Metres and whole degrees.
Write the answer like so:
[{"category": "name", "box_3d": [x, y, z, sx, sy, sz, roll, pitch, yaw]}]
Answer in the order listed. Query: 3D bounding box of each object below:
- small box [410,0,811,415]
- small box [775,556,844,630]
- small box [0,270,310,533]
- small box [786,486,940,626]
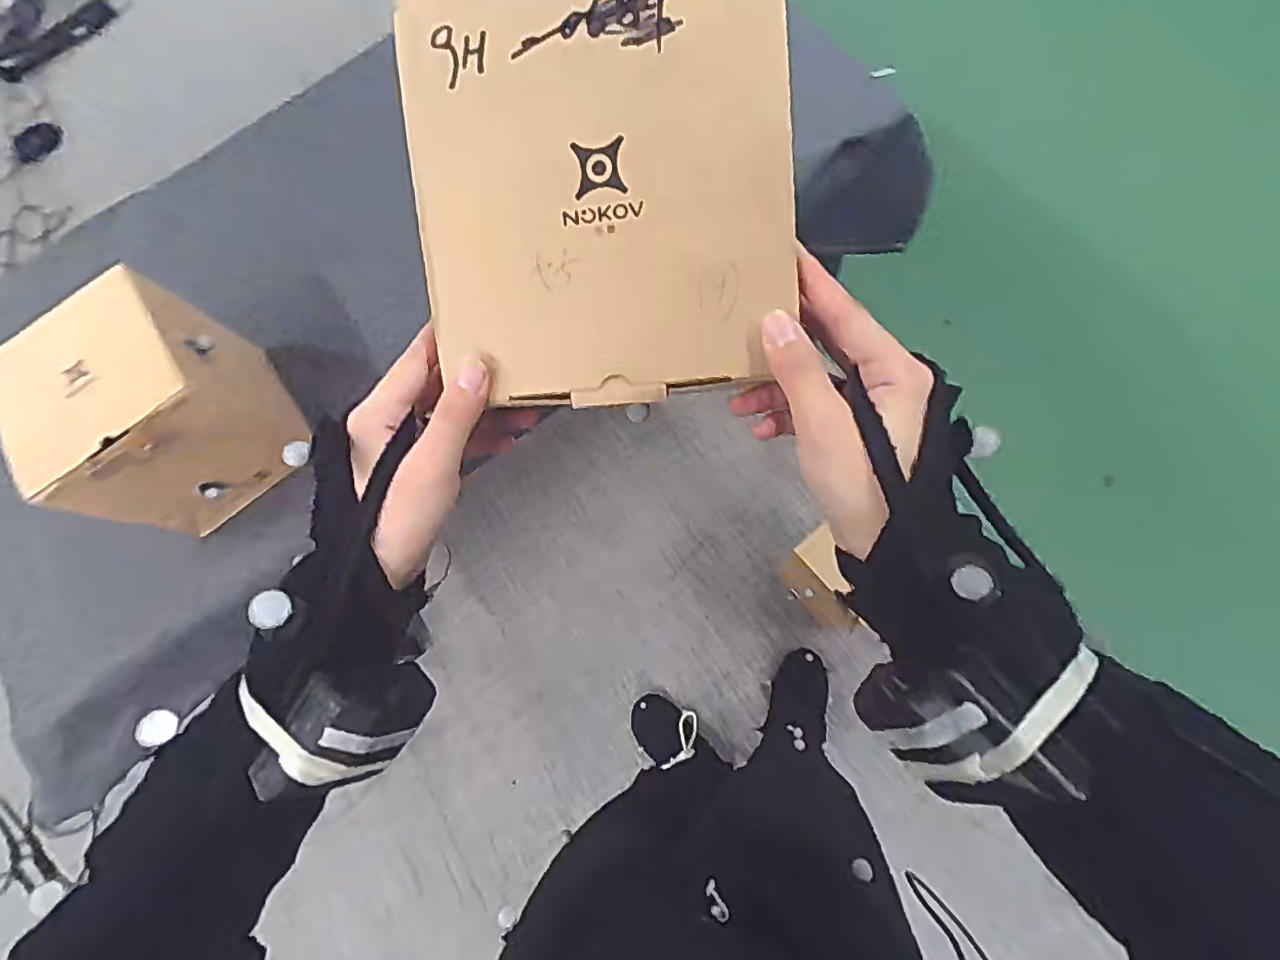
[{"category": "small box", "box_3d": [-0.002, -0.135, 0.311, 0.168, 0.176, 0.179, -4, 99, 6]}, {"category": "small box", "box_3d": [0.400, 0.191, 1.120, 0.179, 0.176, 0.168, -40, 72, -3]}, {"category": "small box", "box_3d": [-0.495, -0.067, 0.559, 0.168, 0.176, 0.179, -39, 73, -4]}, {"category": "small box", "box_3d": [0.381, 0.141, 0.965, 0.179, 0.176, 0.168, -40, 72, -3]}]
